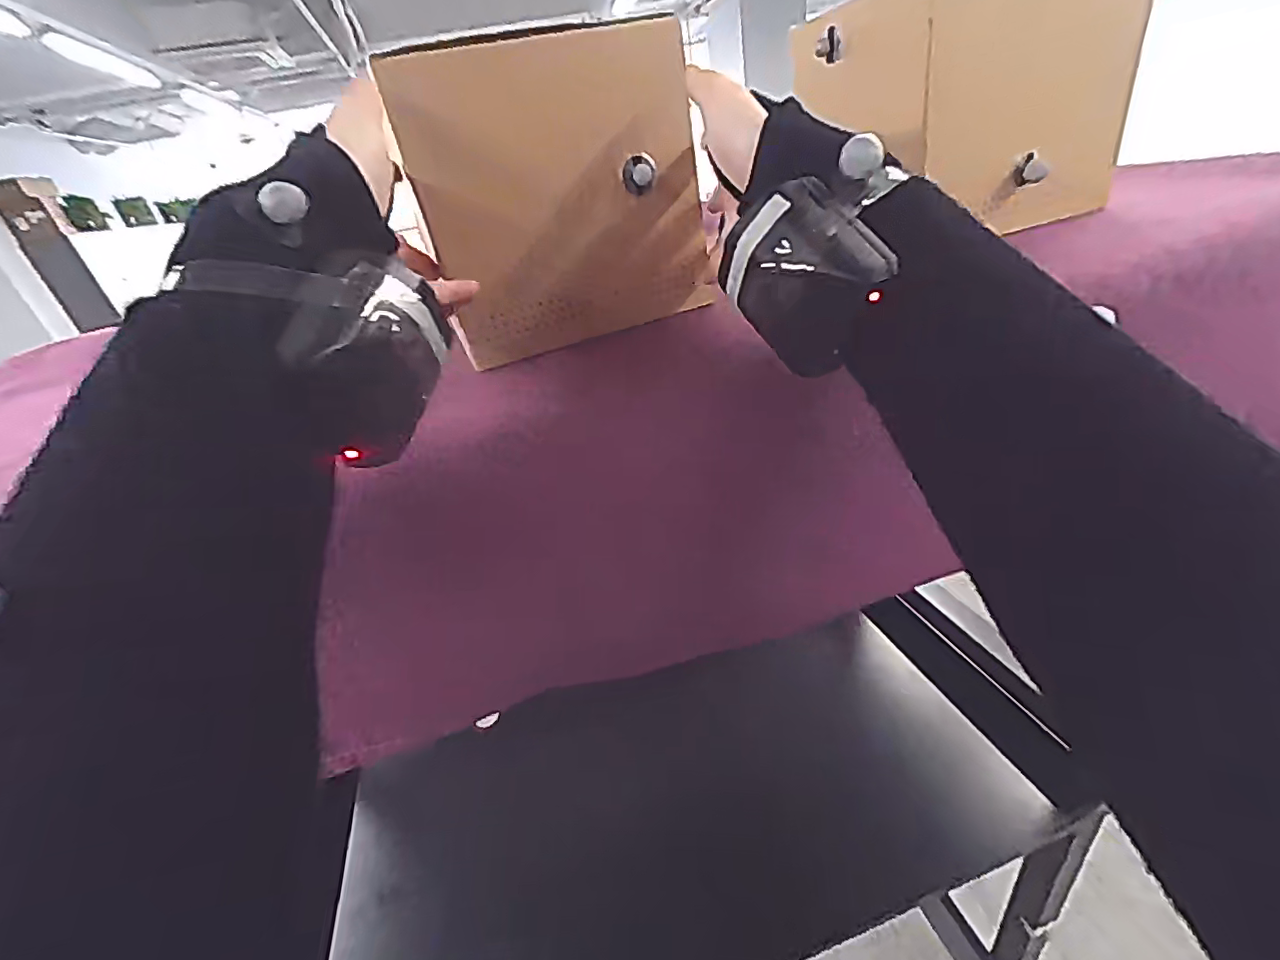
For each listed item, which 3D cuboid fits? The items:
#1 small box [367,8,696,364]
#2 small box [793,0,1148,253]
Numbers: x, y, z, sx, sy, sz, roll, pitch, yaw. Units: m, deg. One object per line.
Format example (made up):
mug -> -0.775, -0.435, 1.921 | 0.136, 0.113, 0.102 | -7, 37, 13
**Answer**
small box -> -0.070, -0.201, 0.391 | 0.179, 0.176, 0.168 | -21, 30, -14
small box -> 0.239, -0.291, 0.427 | 0.179, 0.176, 0.168 | -17, 29, -9
